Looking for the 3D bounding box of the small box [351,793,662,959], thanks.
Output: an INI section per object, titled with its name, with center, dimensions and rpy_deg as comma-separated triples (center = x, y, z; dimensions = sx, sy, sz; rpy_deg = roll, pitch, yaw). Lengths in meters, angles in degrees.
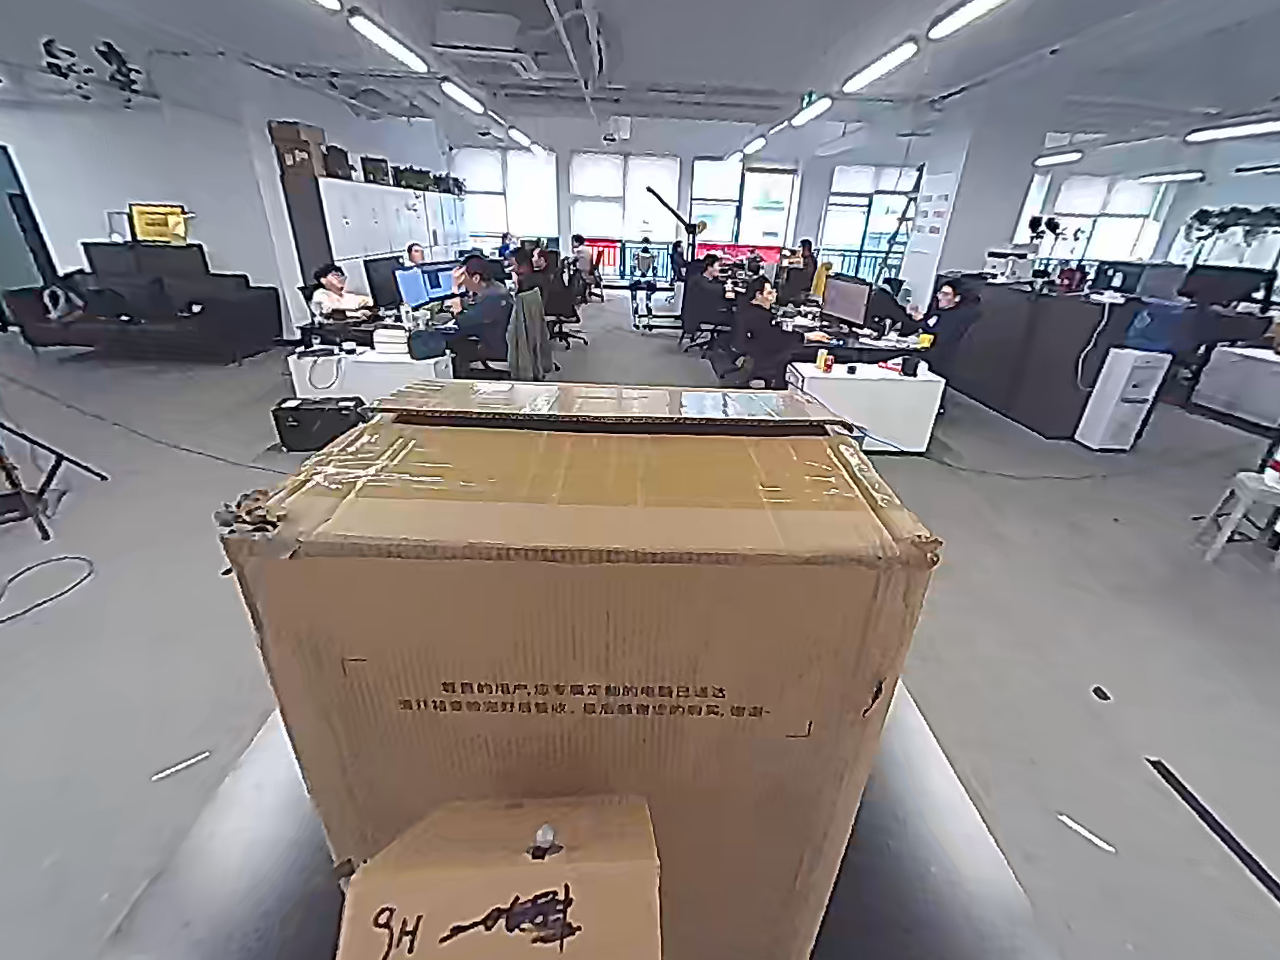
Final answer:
[small box]
center = -0.071, 0.318, 0.347
dimensions = 0.168, 0.176, 0.179
rpy_deg = -1, 69, -3
